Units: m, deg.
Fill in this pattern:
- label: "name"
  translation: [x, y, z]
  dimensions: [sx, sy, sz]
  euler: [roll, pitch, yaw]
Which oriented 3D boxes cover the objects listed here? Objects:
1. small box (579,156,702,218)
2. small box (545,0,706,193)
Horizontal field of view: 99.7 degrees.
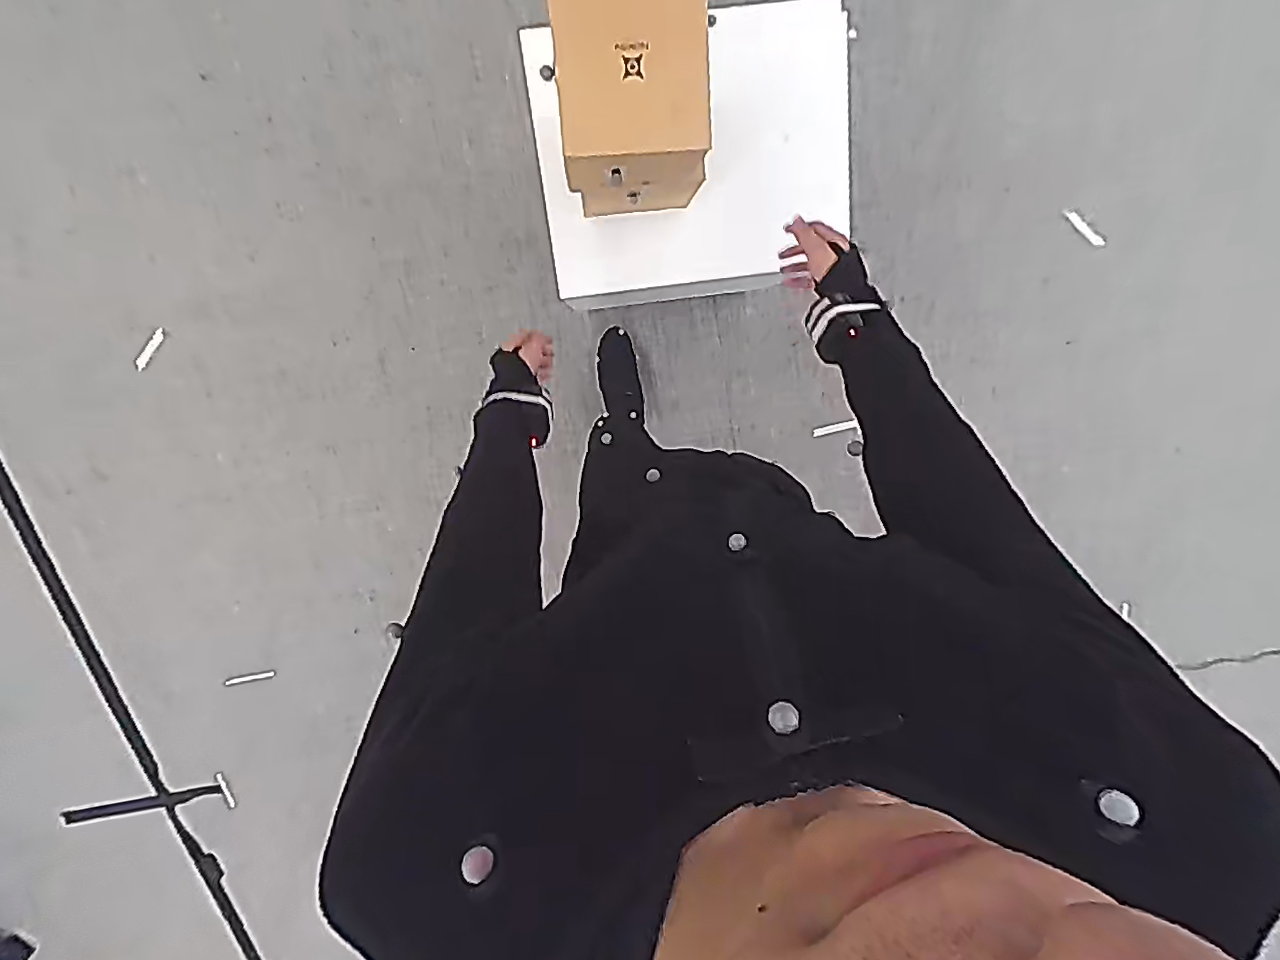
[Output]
- label: "small box"
  translation: [-0.012, -0.501, 0.806]
  dimensions: [0.179, 0.176, 0.168]
  euler: [-7, 105, -4]
- label: "small box"
  translation: [-0.017, -0.458, 0.649]
  dimensions: [0.168, 0.176, 0.179]
  euler: [-5, 104, -3]
